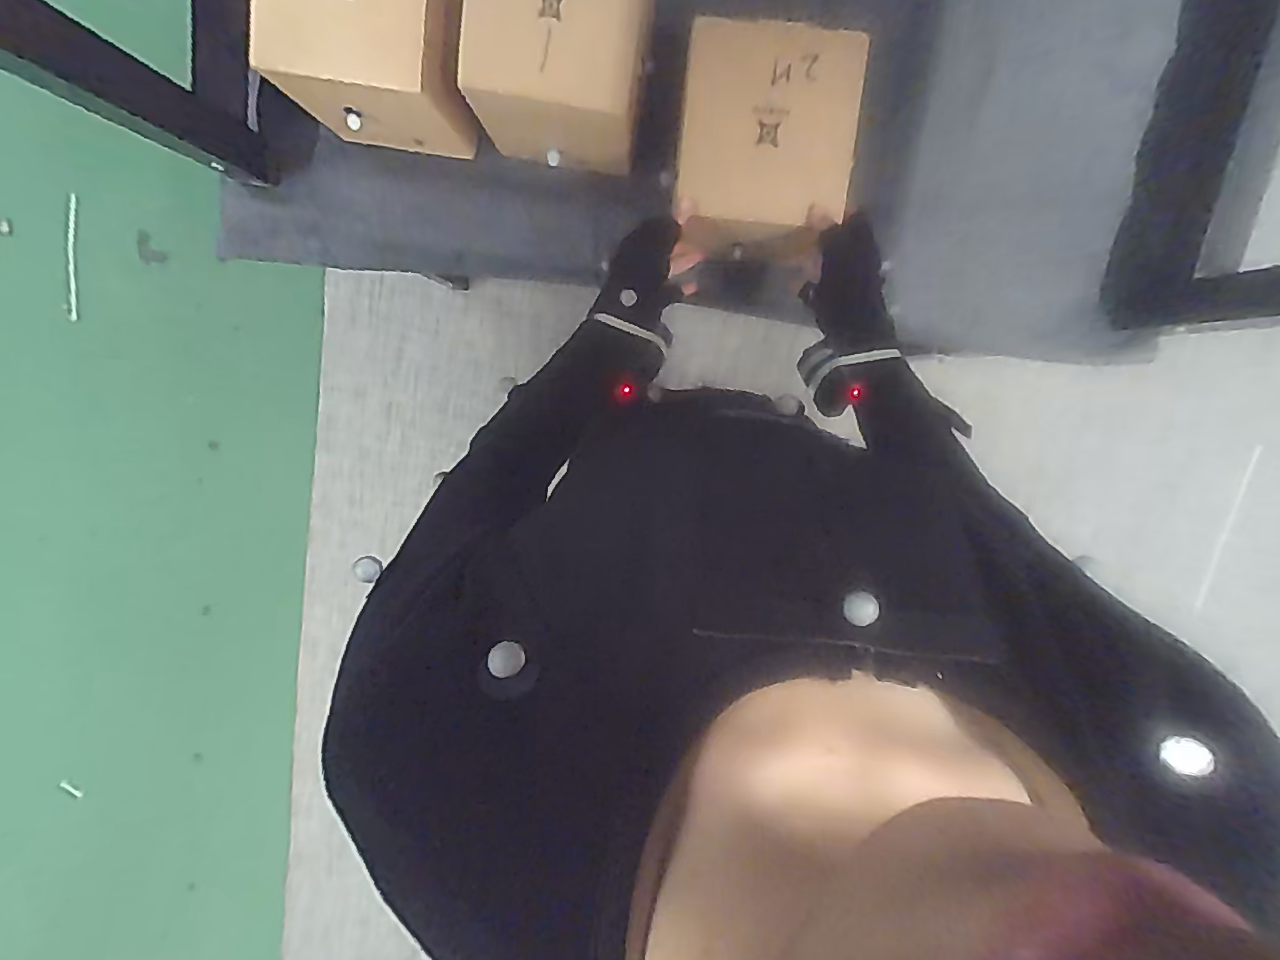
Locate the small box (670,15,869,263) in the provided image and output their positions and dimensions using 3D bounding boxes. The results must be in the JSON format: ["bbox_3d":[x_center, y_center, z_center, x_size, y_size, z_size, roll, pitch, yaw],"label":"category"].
[{"bbox_3d":[0.124,-0.348,0.590,0.168,0.176,0.179,5,99,-1],"label":"small box"}]

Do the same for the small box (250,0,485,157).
[{"bbox_3d":[-0.273,-0.475,0.576,0.168,0.176,0.179,8,100,-1],"label":"small box"}]
